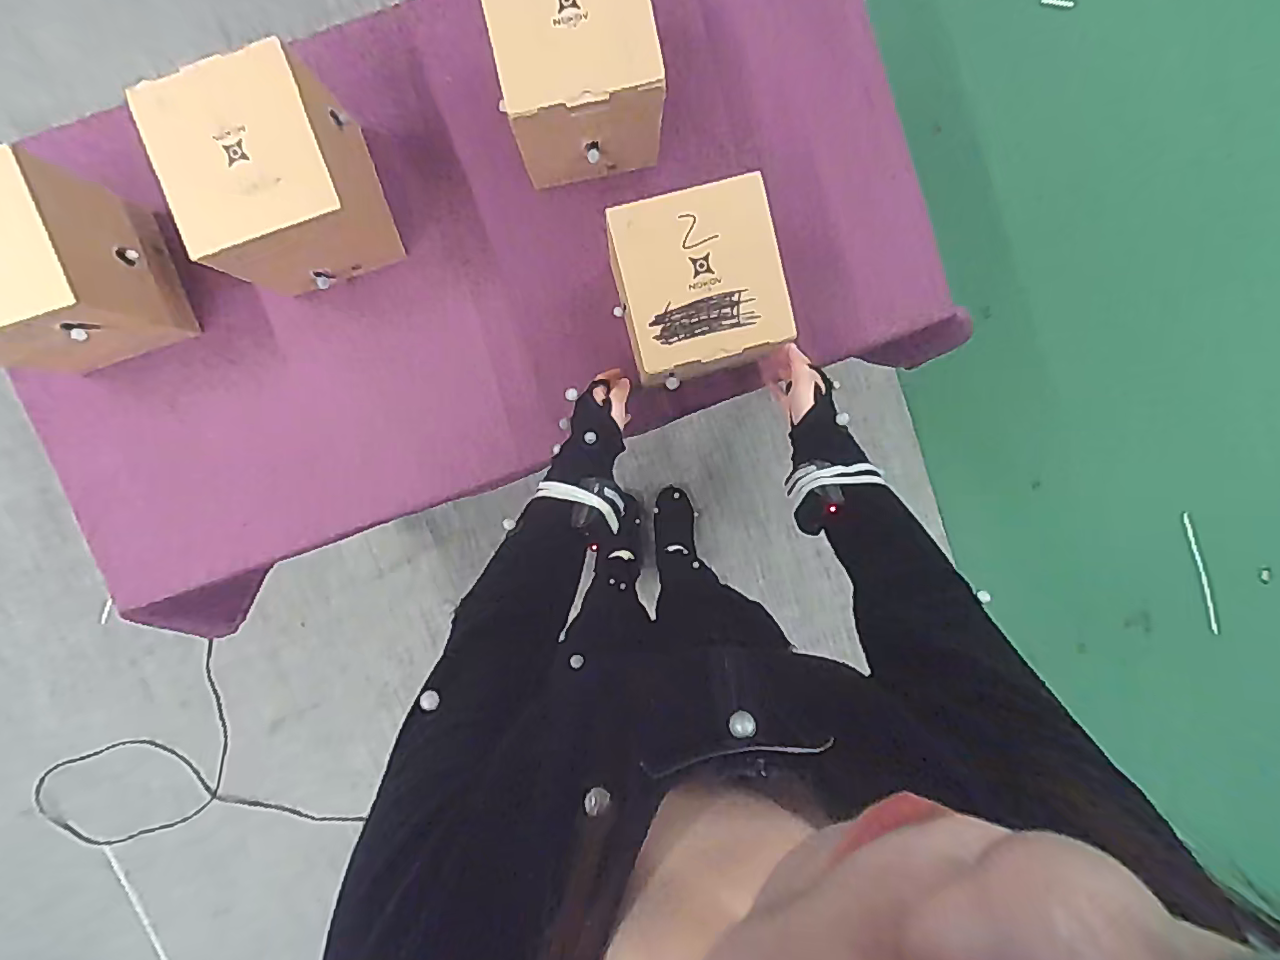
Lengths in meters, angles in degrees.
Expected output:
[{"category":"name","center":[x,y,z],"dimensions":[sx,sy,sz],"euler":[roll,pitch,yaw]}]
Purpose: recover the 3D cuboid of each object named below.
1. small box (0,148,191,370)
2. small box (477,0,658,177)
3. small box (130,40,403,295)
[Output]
[{"category":"small box","center":[-0.678,-0.238,0.628],"dimensions":[0.179,0.176,0.168],"euler":[-18,94,1]},{"category":"small box","center":[-0.077,-0.474,0.616],"dimensions":[0.168,0.176,0.179],"euler":[-13,96,0]},{"category":"small box","center":[-0.409,-0.340,0.625],"dimensions":[0.168,0.176,0.179],"euler":[-18,95,1]}]
